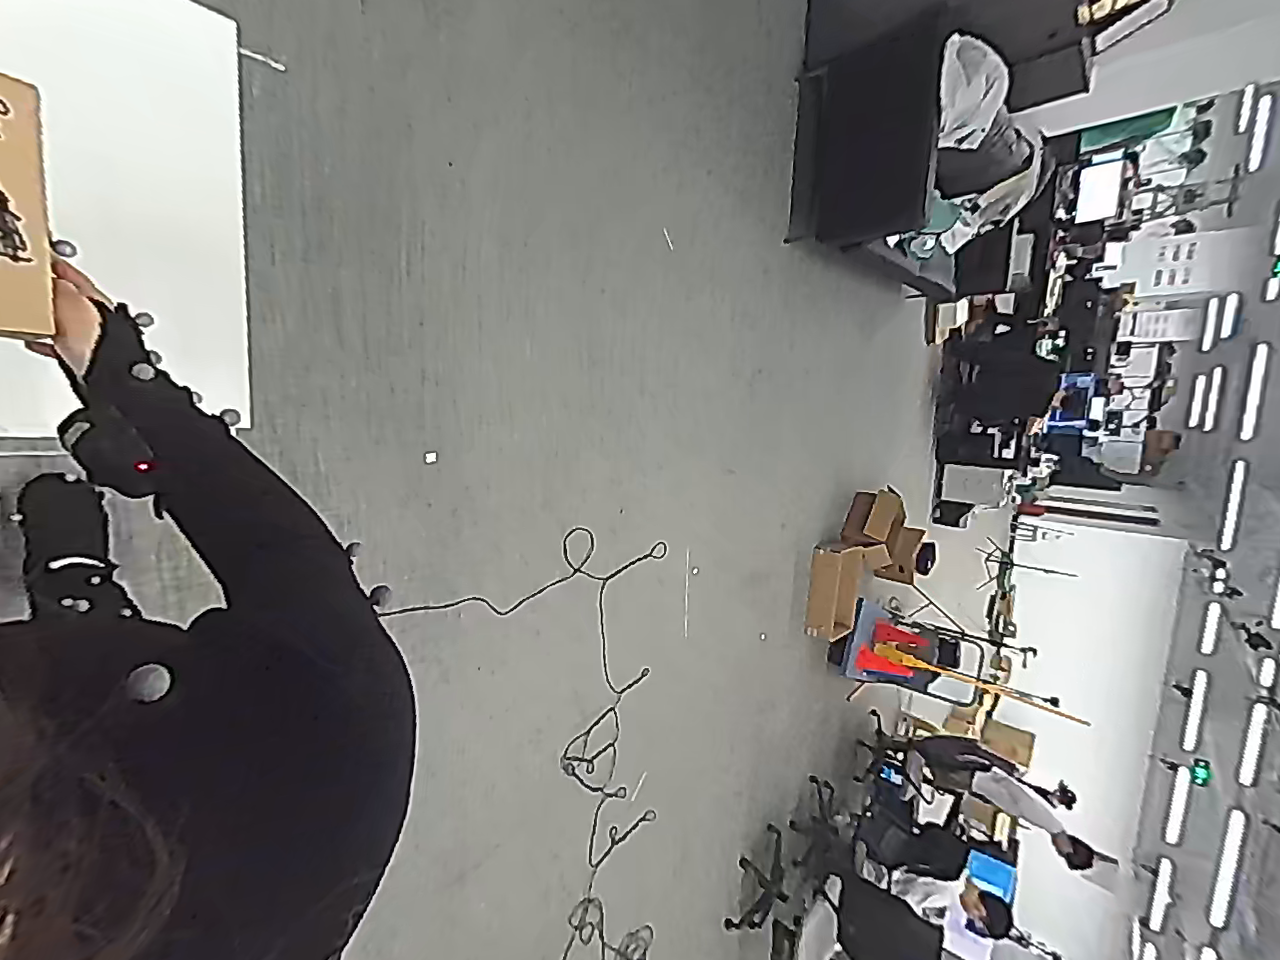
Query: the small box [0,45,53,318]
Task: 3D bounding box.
[{"bbox_3d":[-0.517,-0.203,0.351,0.179,0.176,0.168,-5,102,-50],"label":"small box"}]
